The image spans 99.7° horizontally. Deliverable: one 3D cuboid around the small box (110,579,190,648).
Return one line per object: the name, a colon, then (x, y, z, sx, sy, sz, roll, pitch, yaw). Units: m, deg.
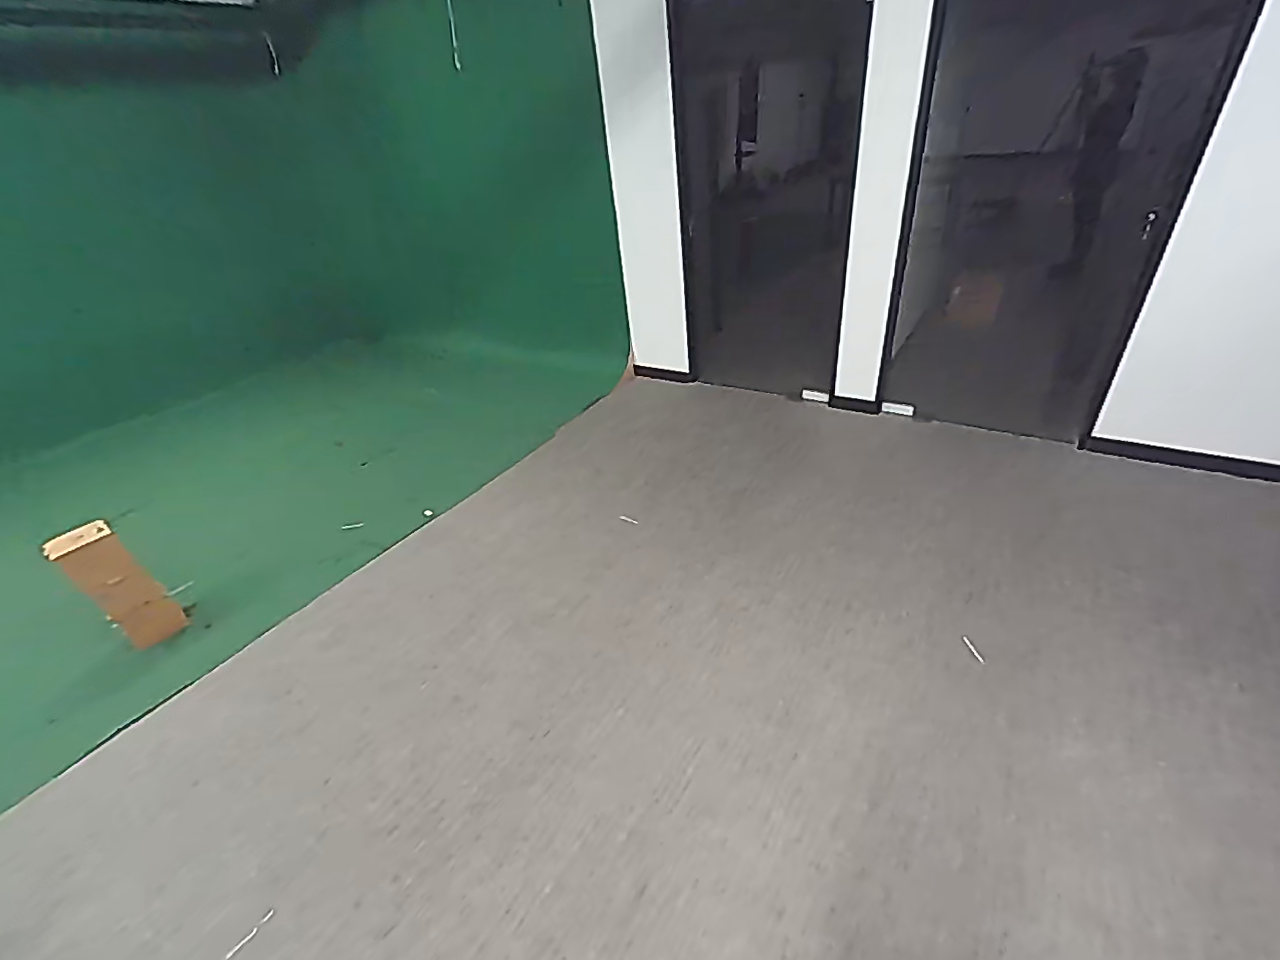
small box: (-1.966, 0.538, 2.179, 0.168, 0.176, 0.179, 20, 42, 34)

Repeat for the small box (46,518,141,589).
small box: (-2.007, 0.272, 1.991, 0.168, 0.176, 0.179, 18, 42, 33)
